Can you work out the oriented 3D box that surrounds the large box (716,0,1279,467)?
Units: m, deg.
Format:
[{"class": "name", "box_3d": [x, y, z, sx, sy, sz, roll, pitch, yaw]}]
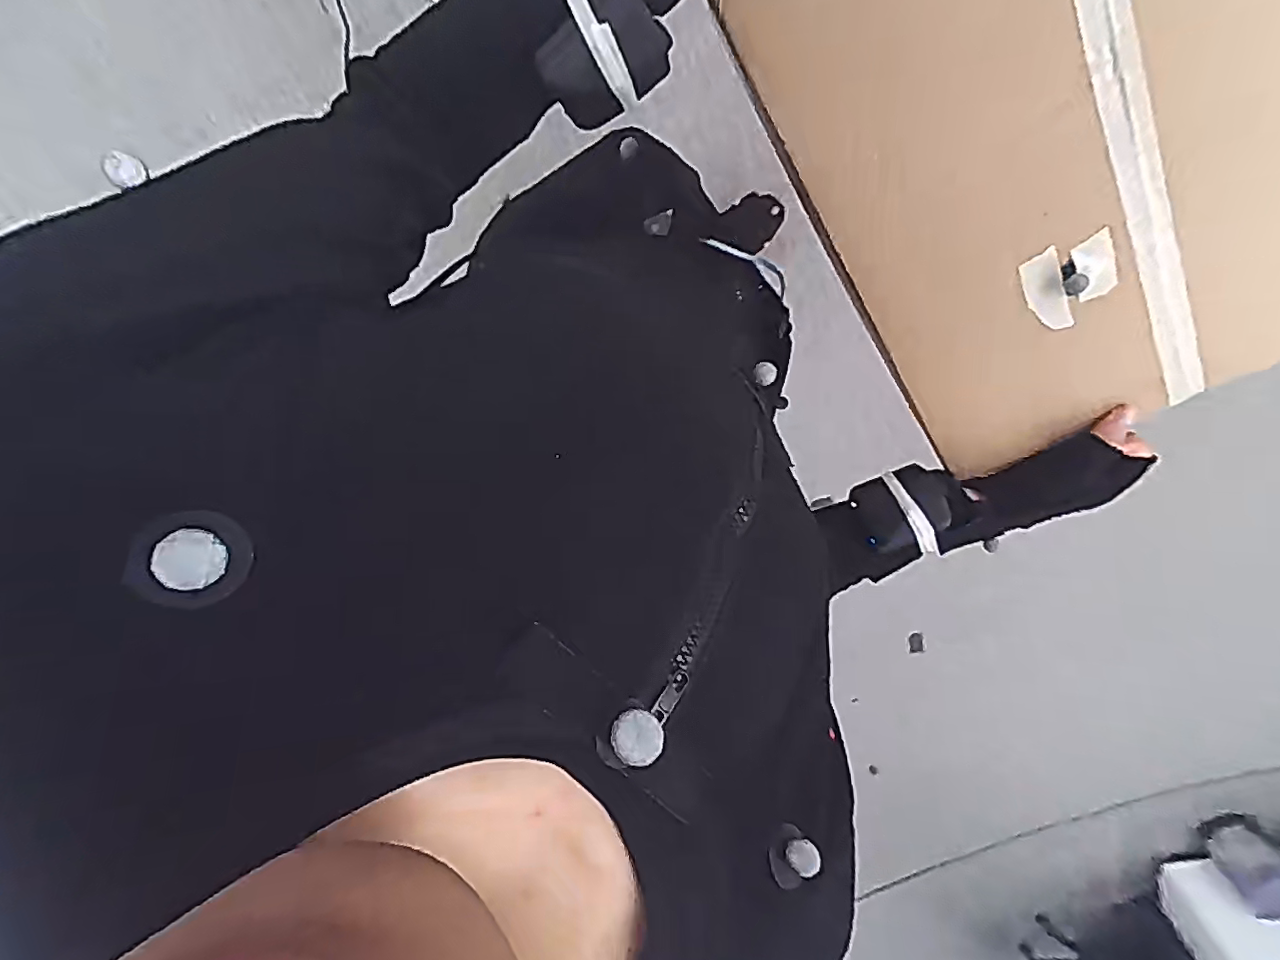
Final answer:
[{"class": "large box", "box_3d": [0.295, -0.295, 0.432, 0.320, 0.320, 0.408, -27, 121, 27]}]
